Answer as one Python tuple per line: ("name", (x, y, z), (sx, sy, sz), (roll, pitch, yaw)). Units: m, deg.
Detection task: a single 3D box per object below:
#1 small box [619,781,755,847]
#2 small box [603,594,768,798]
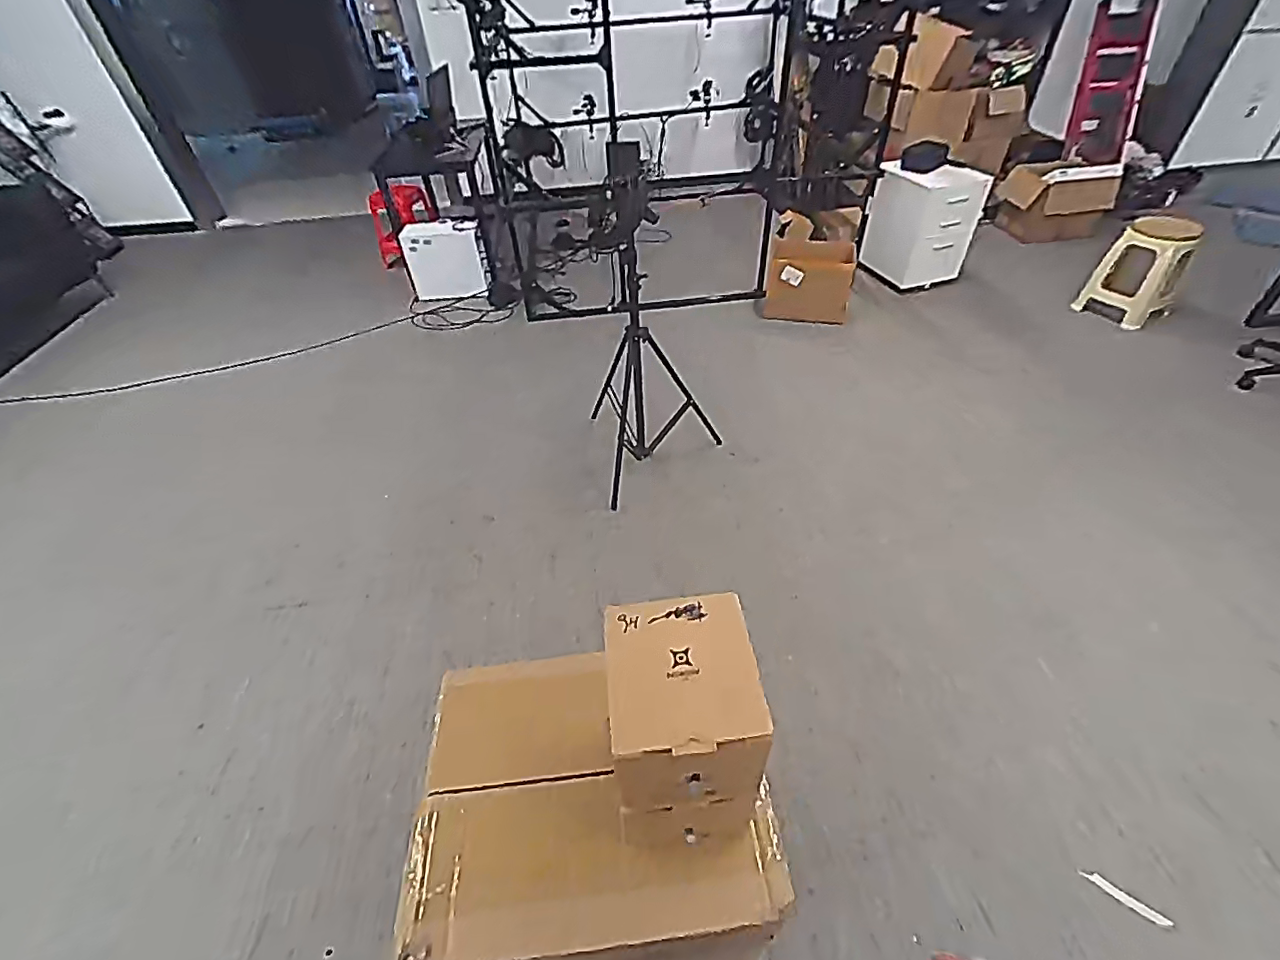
("small box", (0.054, 0.387, 0.763), (0.168, 0.176, 0.179), (-7, 44, -2))
("small box", (0.048, 0.265, 0.653), (0.168, 0.176, 0.179), (-6, 44, -1))
